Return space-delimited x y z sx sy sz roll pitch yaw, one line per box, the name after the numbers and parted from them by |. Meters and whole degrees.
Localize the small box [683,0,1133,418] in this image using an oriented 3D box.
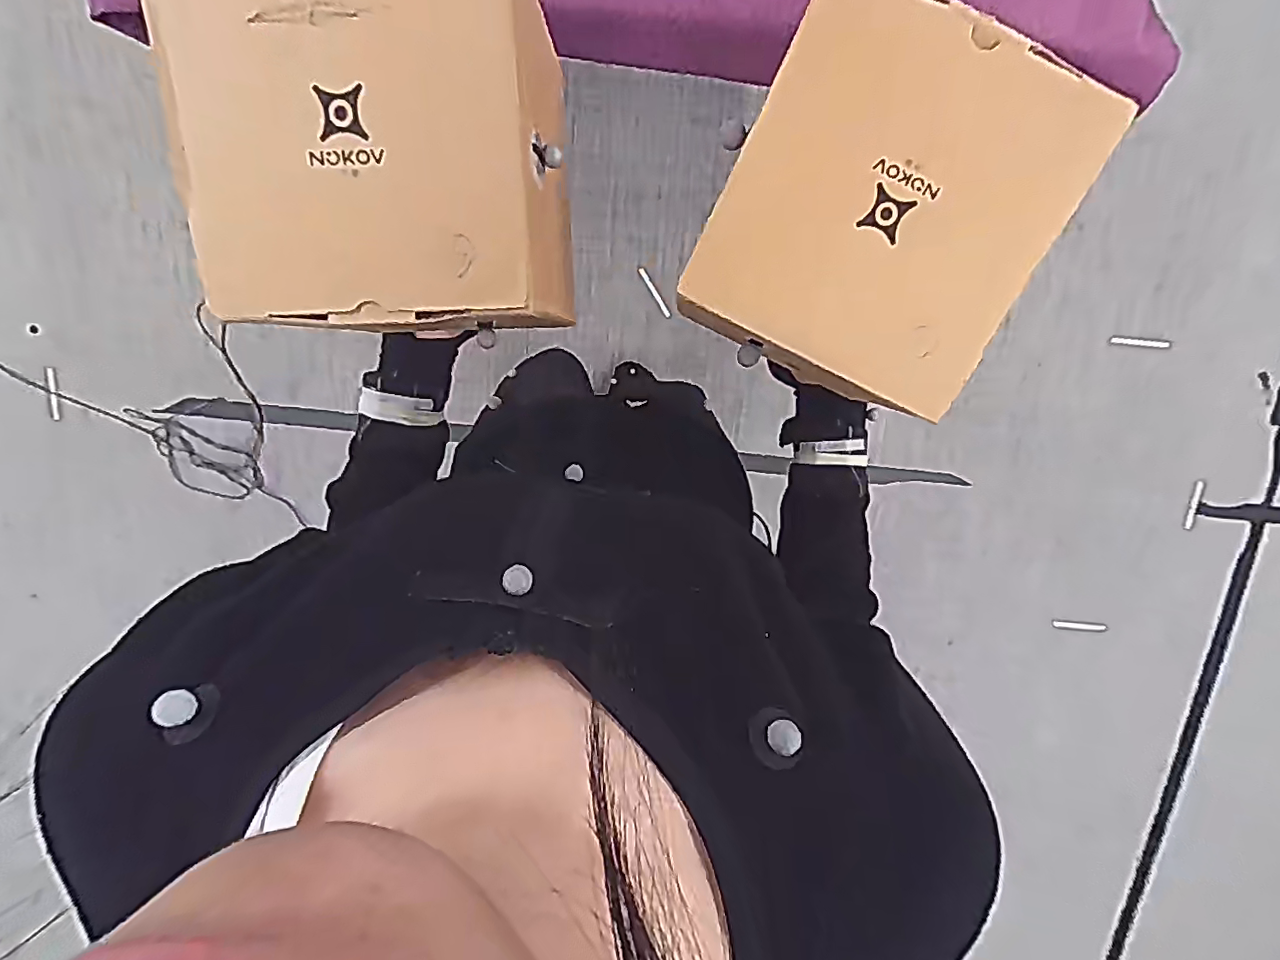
0.139 -0.157 0.357 0.168 0.176 0.179 24 101 0 | small box

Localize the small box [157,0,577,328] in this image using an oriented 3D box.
-0.132 -0.186 0.332 0.168 0.176 0.179 -2 103 1 | small box
